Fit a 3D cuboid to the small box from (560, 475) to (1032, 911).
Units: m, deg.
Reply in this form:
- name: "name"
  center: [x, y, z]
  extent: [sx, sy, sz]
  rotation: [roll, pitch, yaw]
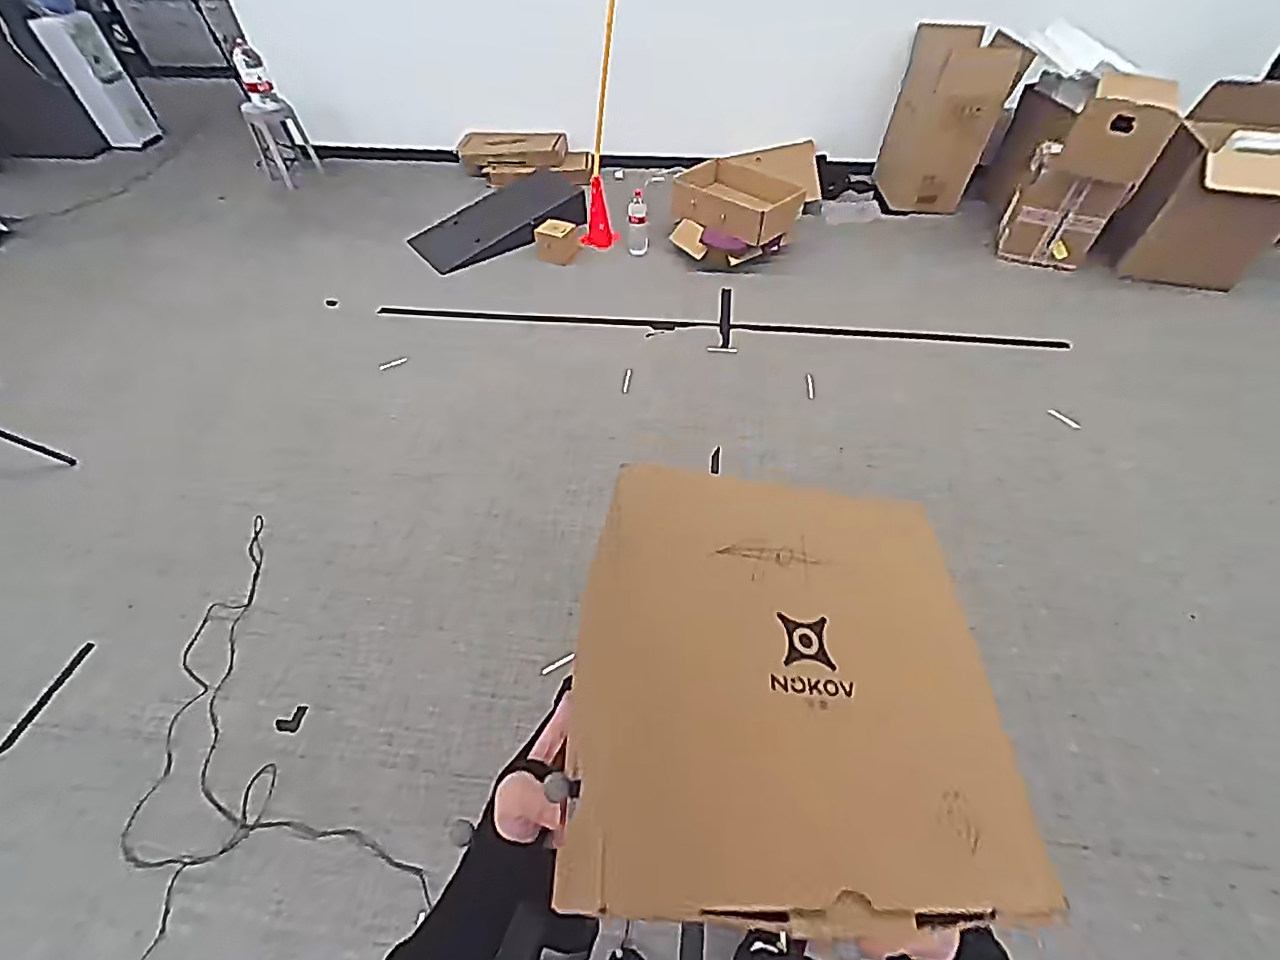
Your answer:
- name: "small box"
  center: [0.050, 0.124, 0.299]
  extent: [0.168, 0.176, 0.179]
  rotation: [8, 51, -10]
